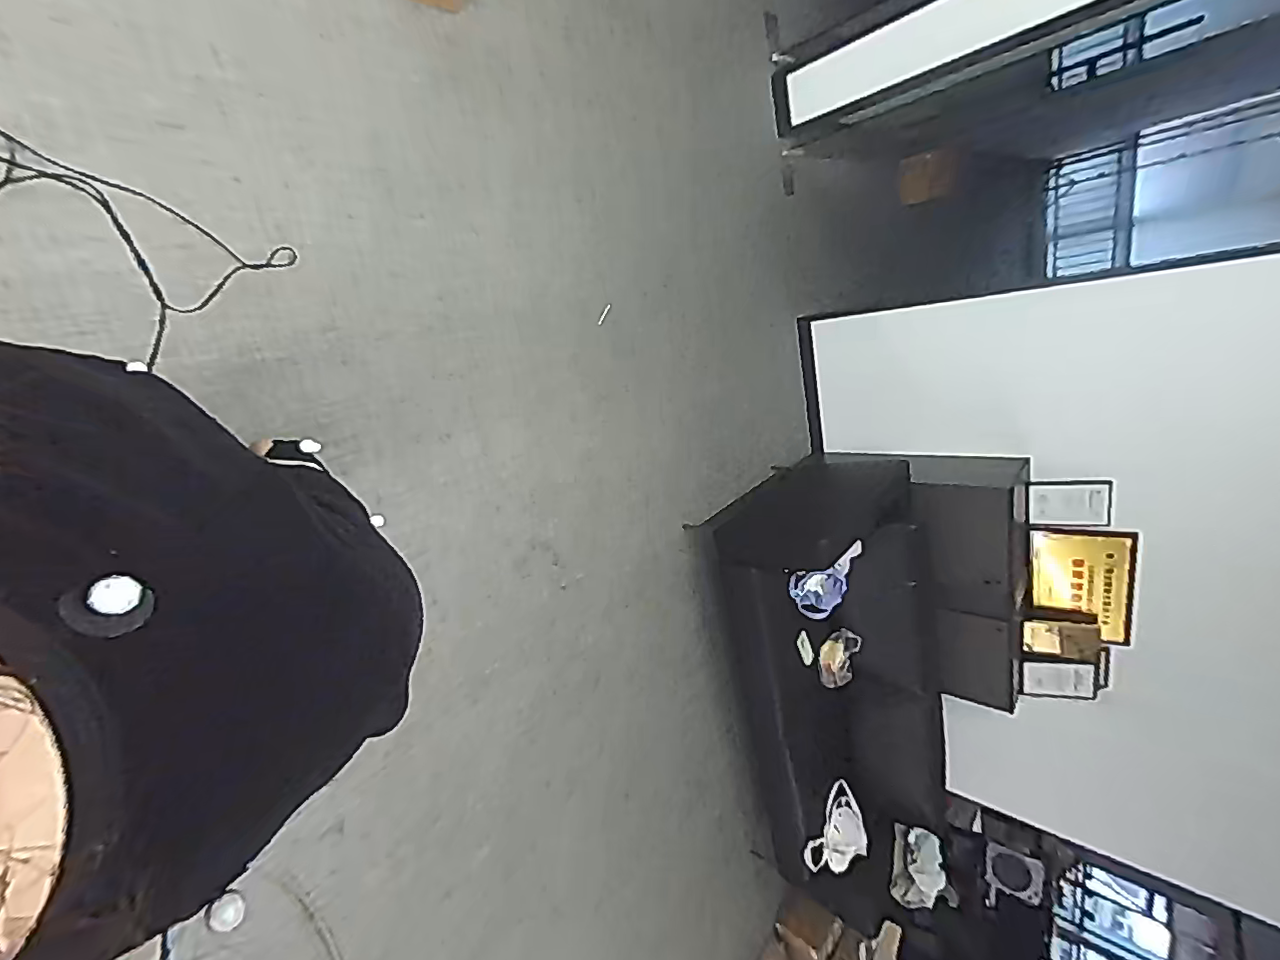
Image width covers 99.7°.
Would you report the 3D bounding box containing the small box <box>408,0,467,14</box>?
[{"bbox_3d":[-0.540,-1.373,1.415,0.179,0.176,0.168,-24,111,-41],"label":"small box"}]
